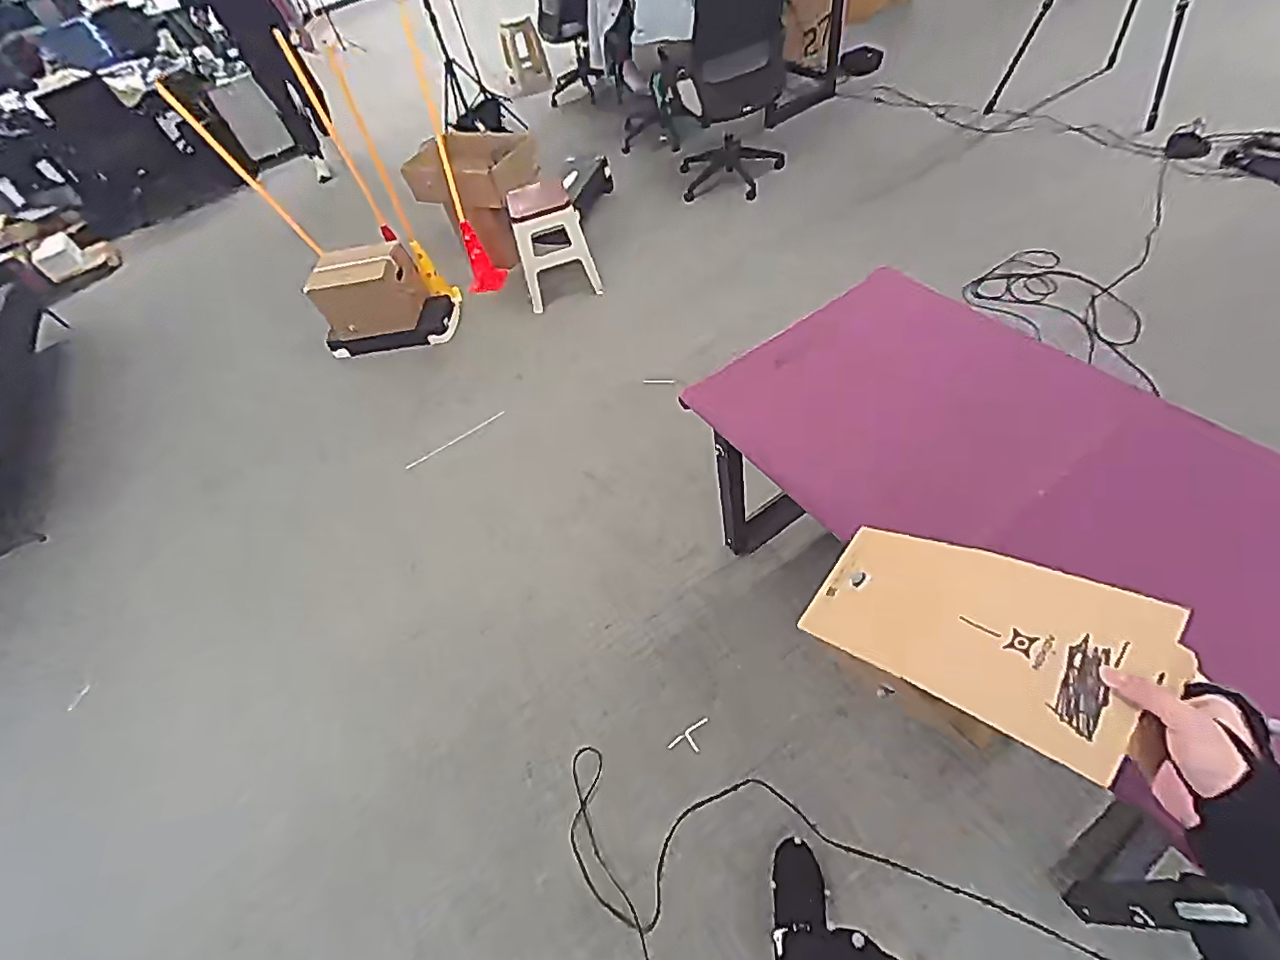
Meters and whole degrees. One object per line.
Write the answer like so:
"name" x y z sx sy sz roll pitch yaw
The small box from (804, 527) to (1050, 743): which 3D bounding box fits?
"small box" 0.344 0.175 0.667 0.168 0.179 0.176 -52 20 -11
